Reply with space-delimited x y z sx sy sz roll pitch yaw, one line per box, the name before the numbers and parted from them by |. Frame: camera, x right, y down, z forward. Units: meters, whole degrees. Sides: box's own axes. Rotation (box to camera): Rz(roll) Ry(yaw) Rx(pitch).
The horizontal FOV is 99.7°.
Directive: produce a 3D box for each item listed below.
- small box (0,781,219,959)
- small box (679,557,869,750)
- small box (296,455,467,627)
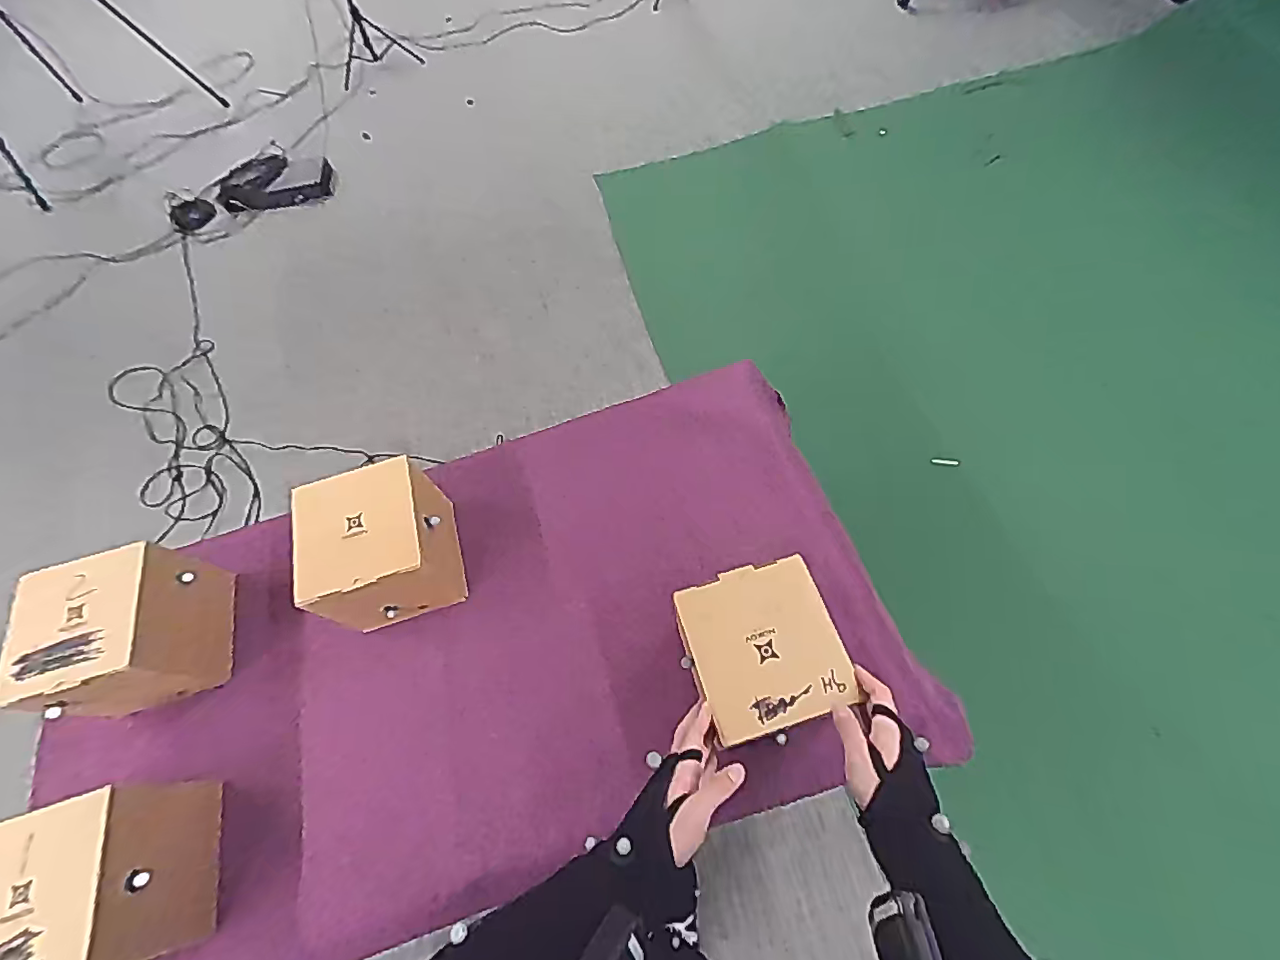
small box | -0.627 0.466 0.619 0.168 0.176 0.179 -17 62 -5
small box | 0.151 0.223 0.681 0.168 0.176 0.179 -17 62 -3
small box | -0.370 0.095 0.791 0.168 0.176 0.179 -17 64 -5
